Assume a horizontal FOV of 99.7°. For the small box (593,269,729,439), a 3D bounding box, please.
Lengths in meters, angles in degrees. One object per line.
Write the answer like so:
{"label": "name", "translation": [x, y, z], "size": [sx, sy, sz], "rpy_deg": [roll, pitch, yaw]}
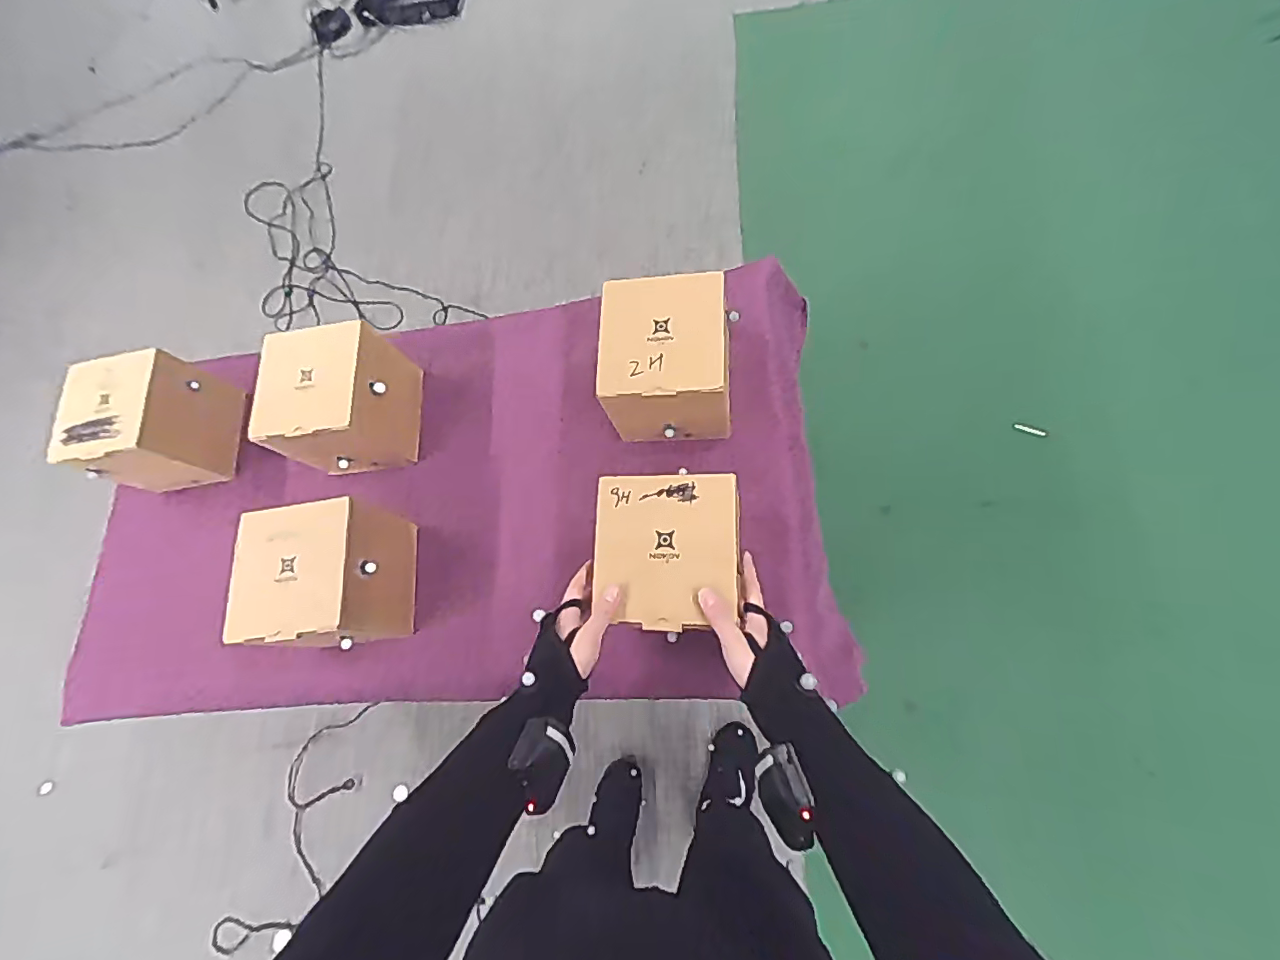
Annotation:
{"label": "small box", "translation": [0.039, -0.169, 0.770], "size": [0.168, 0.176, 0.179], "rpy_deg": [-1, 74, 12]}

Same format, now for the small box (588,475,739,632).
{"label": "small box", "translation": [0.040, 0.098, 0.687], "size": [0.168, 0.176, 0.179], "rpy_deg": [-1, 75, 11]}

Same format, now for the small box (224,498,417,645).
{"label": "small box", "translation": [-0.441, 0.140, 0.774], "size": [0.168, 0.176, 0.179], "rpy_deg": [-8, 70, 8]}

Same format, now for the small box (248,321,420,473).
{"label": "small box", "translation": [-0.472, -0.124, 0.861], "size": [0.168, 0.176, 0.179], "rpy_deg": [-6, 73, 9]}
